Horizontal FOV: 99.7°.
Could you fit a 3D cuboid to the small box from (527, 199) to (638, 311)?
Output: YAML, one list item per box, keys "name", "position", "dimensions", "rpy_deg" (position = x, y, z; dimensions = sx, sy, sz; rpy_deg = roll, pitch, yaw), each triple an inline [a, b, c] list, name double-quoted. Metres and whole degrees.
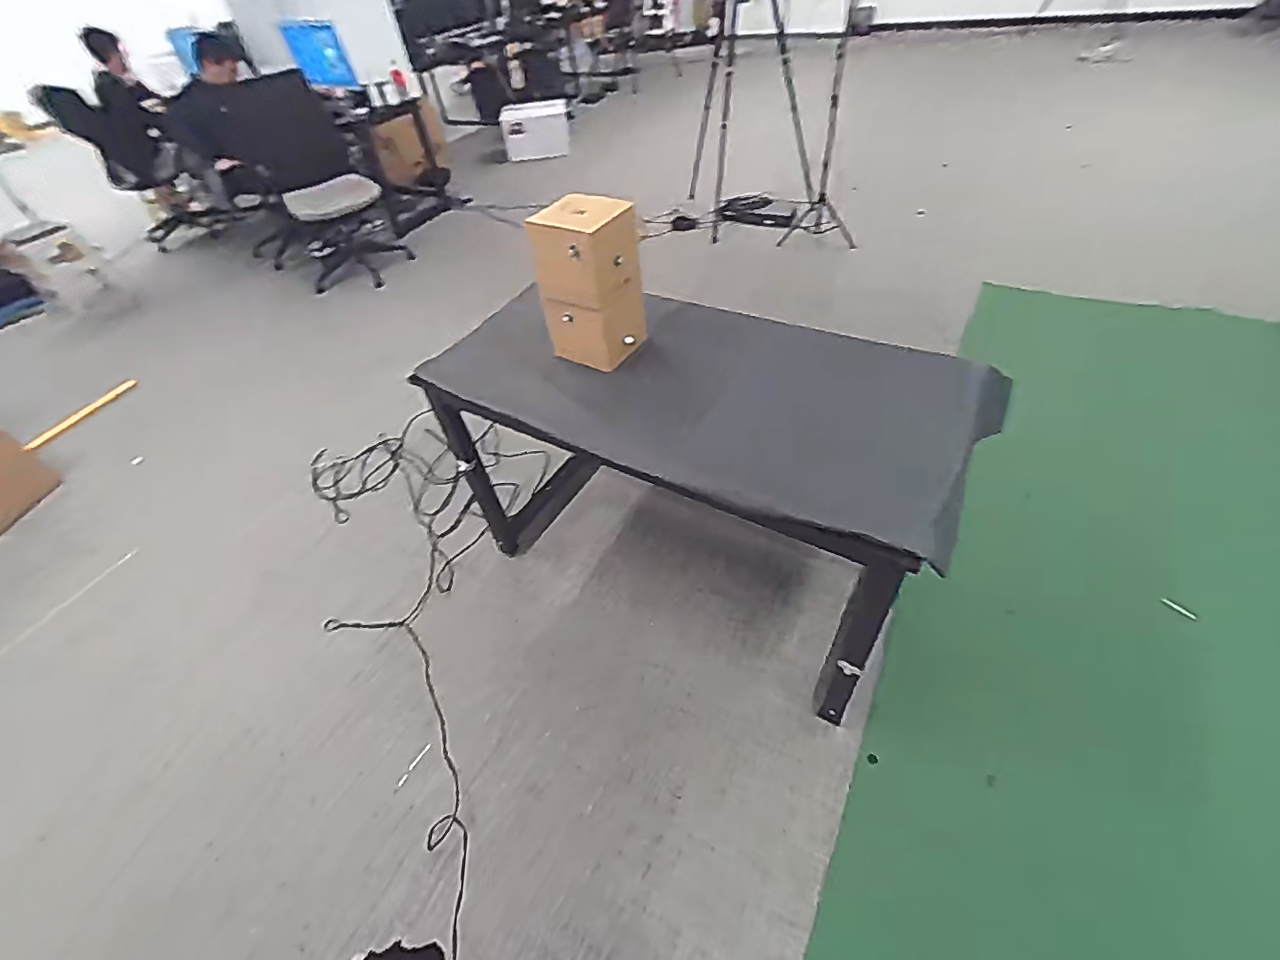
- name: "small box"
  position: [-0.117, -0.495, 1.196]
  dimensions: [0.179, 0.176, 0.168]
  rpy_deg: [22, 52, 25]

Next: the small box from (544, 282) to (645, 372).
- name: "small box"
  position: [-0.105, -0.386, 1.320]
  dimensions: [0.179, 0.176, 0.168]
  rpy_deg: [24, 53, 25]
